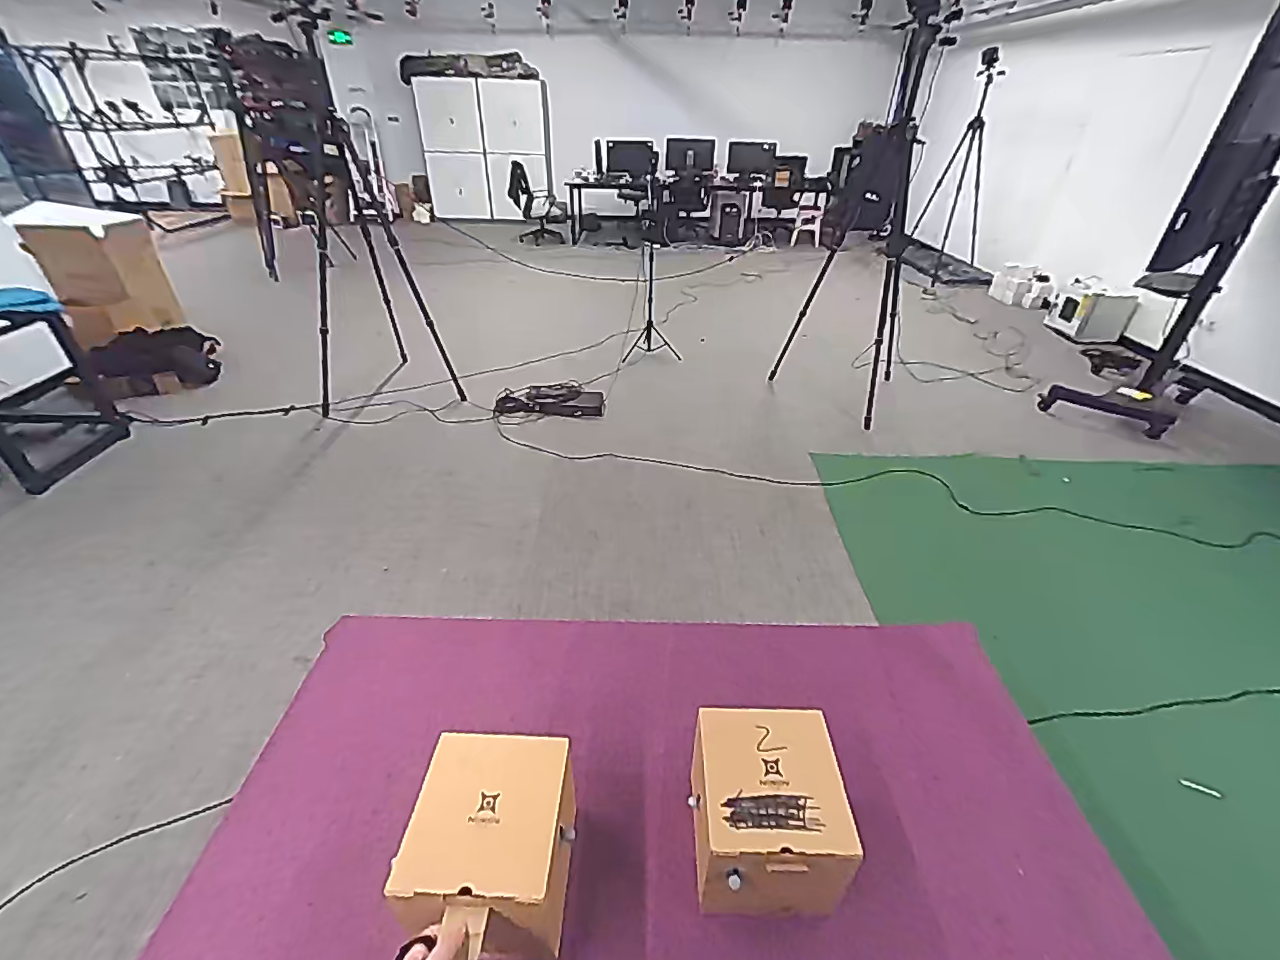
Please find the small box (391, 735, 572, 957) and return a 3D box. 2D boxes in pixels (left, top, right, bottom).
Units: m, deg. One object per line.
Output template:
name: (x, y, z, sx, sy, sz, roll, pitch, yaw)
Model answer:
small box: (-0.178, 0.448, 0.672, 0.168, 0.176, 0.179, 2, 34, 1)
